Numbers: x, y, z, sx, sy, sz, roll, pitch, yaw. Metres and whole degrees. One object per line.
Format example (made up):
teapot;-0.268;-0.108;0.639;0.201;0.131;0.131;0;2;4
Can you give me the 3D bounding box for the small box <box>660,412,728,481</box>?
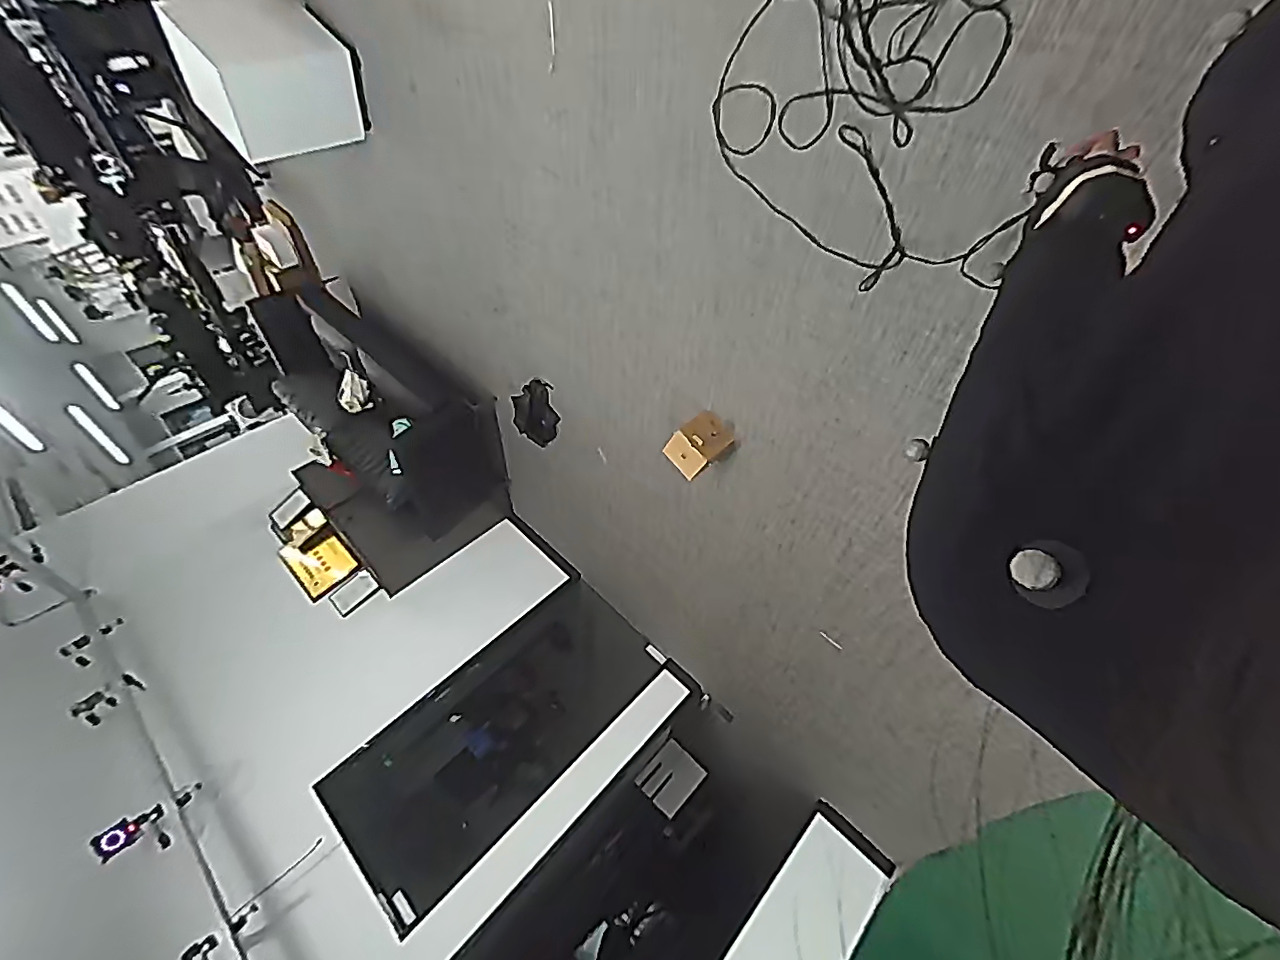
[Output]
small box;0.211;-0.132;2.091;0.168;0.176;0.179;50;149;8
